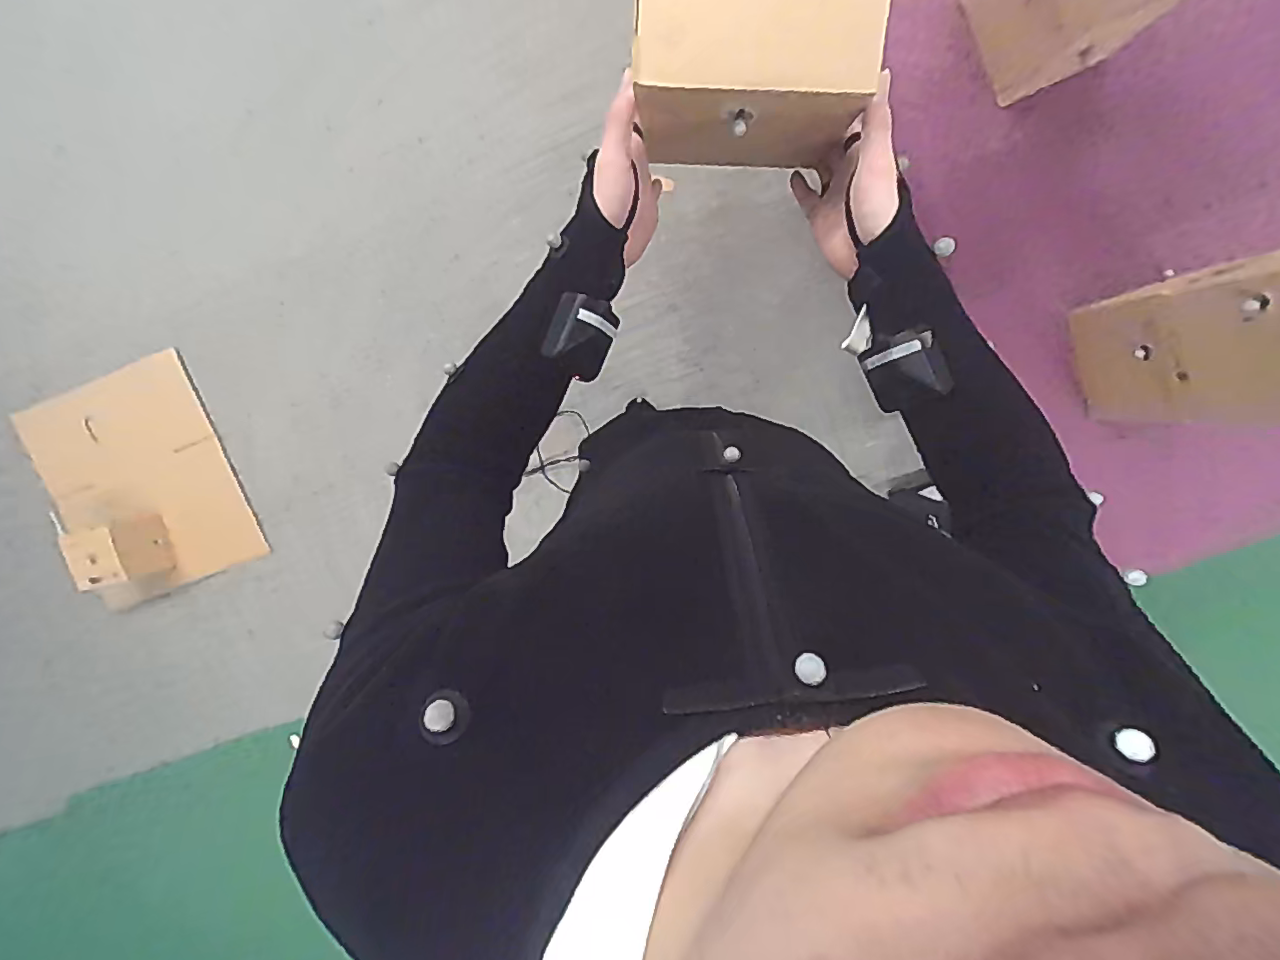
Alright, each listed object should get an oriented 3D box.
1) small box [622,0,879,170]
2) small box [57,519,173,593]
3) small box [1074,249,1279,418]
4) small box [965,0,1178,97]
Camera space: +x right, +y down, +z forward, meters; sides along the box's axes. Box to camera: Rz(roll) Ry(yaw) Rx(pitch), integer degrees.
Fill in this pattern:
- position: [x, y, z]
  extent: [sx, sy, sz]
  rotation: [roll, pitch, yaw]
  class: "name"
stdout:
- position: [0.084, -0.372, 0.444]
  extent: [0.179, 0.176, 0.168]
  rotation: [4, 104, 3]
  class: "small box"
- position: [-1.591, 0.223, 1.650]
  extent: [0.168, 0.176, 0.179]
  rotation: [-12, 97, 4]
  class: "small box"
- position: [0.766, -0.194, 0.764]
  extent: [0.168, 0.176, 0.179]
  rotation: [-19, 97, 5]
  class: "small box"
- position: [0.572, -0.650, 0.710]
  extent: [0.168, 0.176, 0.179]
  rotation: [-23, 96, 6]
  class: "small box"
